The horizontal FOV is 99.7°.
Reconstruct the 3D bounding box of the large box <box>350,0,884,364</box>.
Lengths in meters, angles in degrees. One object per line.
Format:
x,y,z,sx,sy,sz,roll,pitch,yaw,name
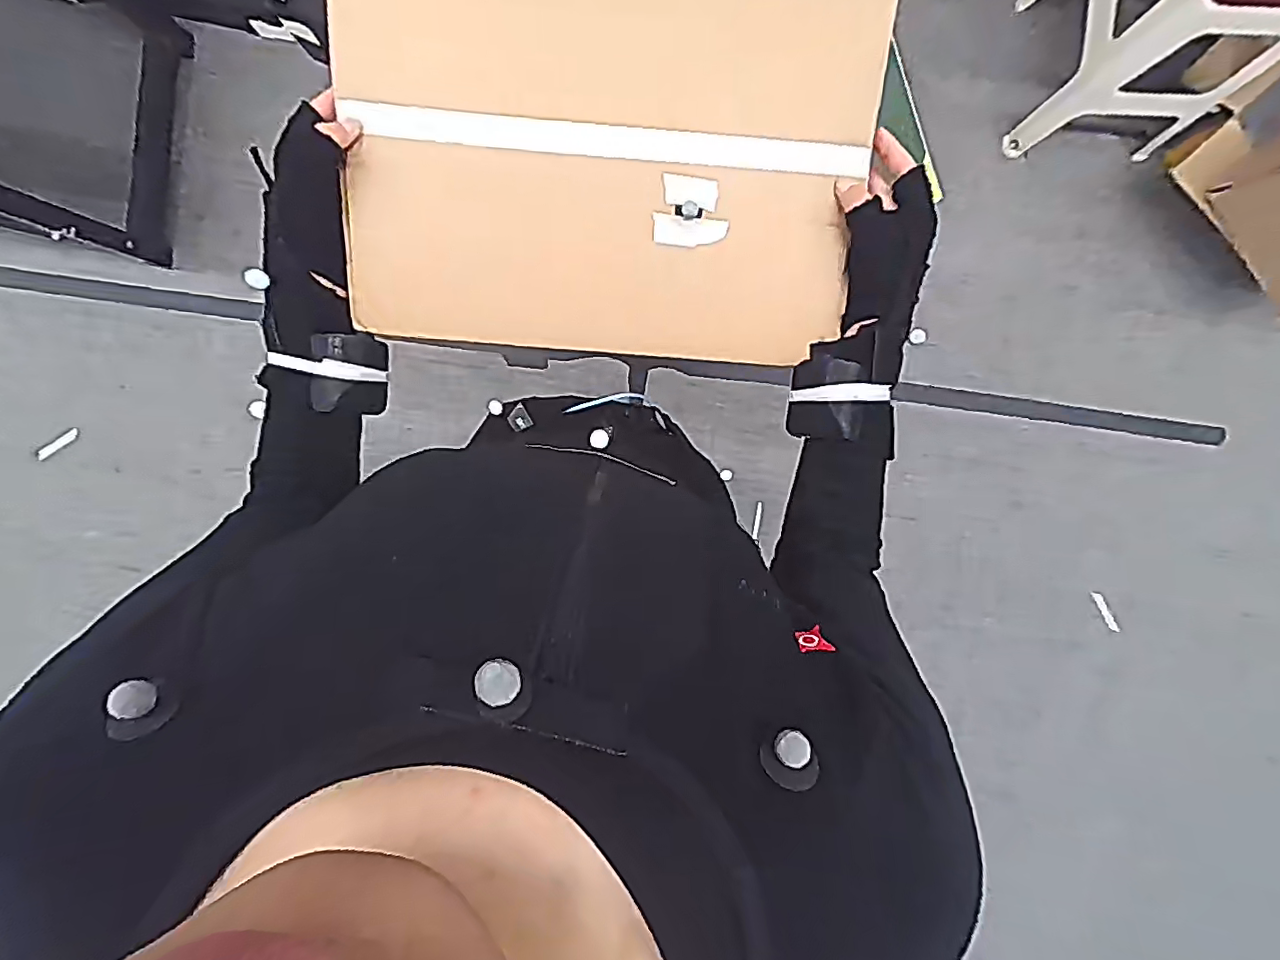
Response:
-0.028,-0.299,0.572,0.408,0.320,0.320,3,107,-3,large box
